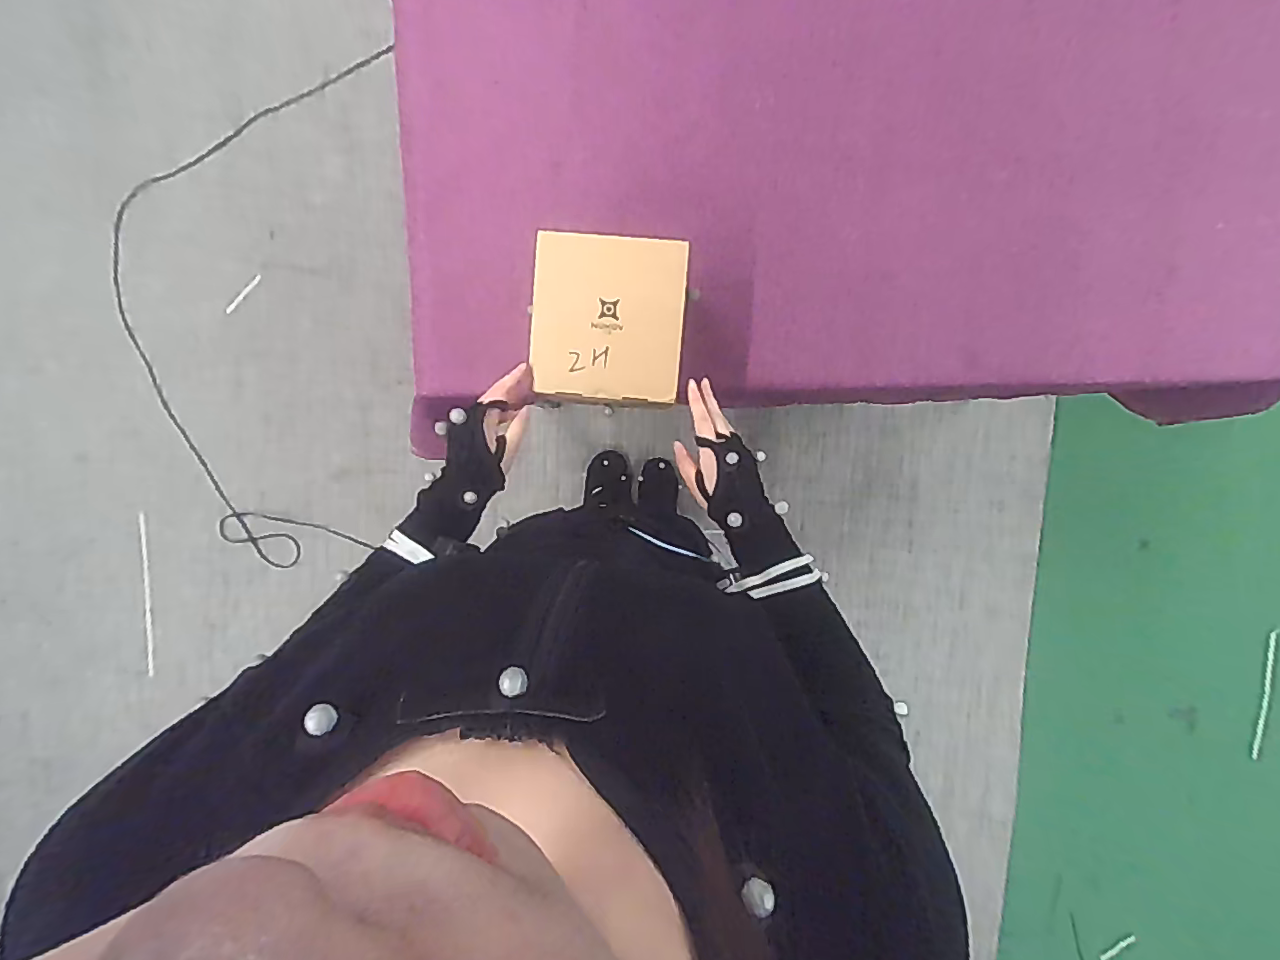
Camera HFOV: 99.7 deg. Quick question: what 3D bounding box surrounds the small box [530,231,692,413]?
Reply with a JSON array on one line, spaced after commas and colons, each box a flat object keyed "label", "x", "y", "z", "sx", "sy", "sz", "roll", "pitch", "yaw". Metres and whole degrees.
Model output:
[{"label": "small box", "x": -0.031, "y": -0.180, "z": 0.665, "sx": 0.168, "sy": 0.176, "sz": 0.179, "roll": 5, "pitch": 94, "yaw": 2}]
